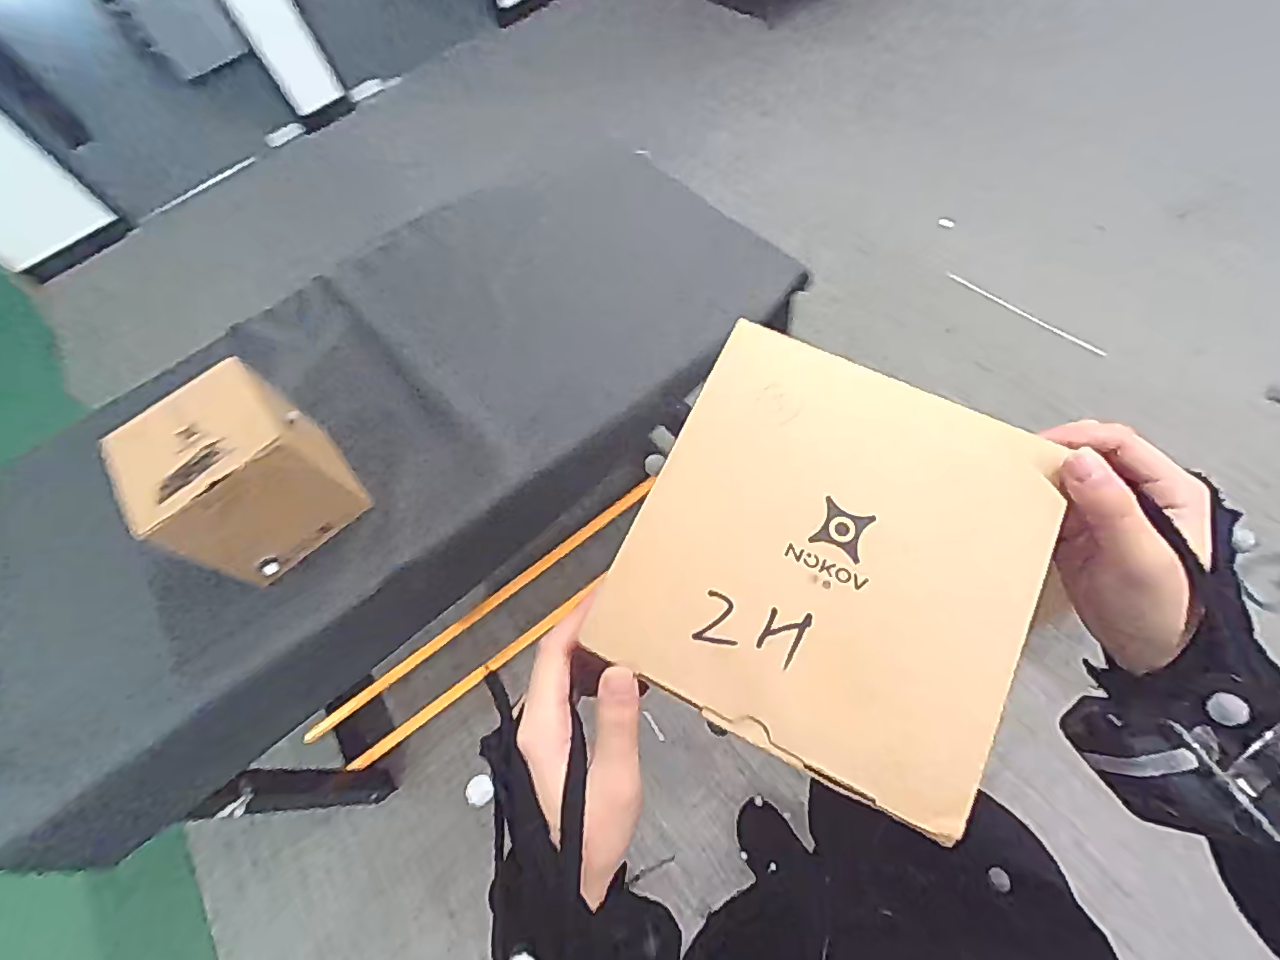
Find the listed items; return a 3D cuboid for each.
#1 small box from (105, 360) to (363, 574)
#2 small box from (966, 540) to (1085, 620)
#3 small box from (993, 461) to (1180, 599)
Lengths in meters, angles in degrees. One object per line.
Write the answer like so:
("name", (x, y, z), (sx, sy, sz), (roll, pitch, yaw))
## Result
("small box", (-0.482, -0.005, 0.664), (0.168, 0.176, 0.179), (-40, 61, -12))
("small box", (0.851, 0.179, 1.155), (0.168, 0.176, 0.179), (-34, 63, -9))
("small box", (0.820, 0.103, 1.014), (0.168, 0.176, 0.179), (-36, 61, -10))
